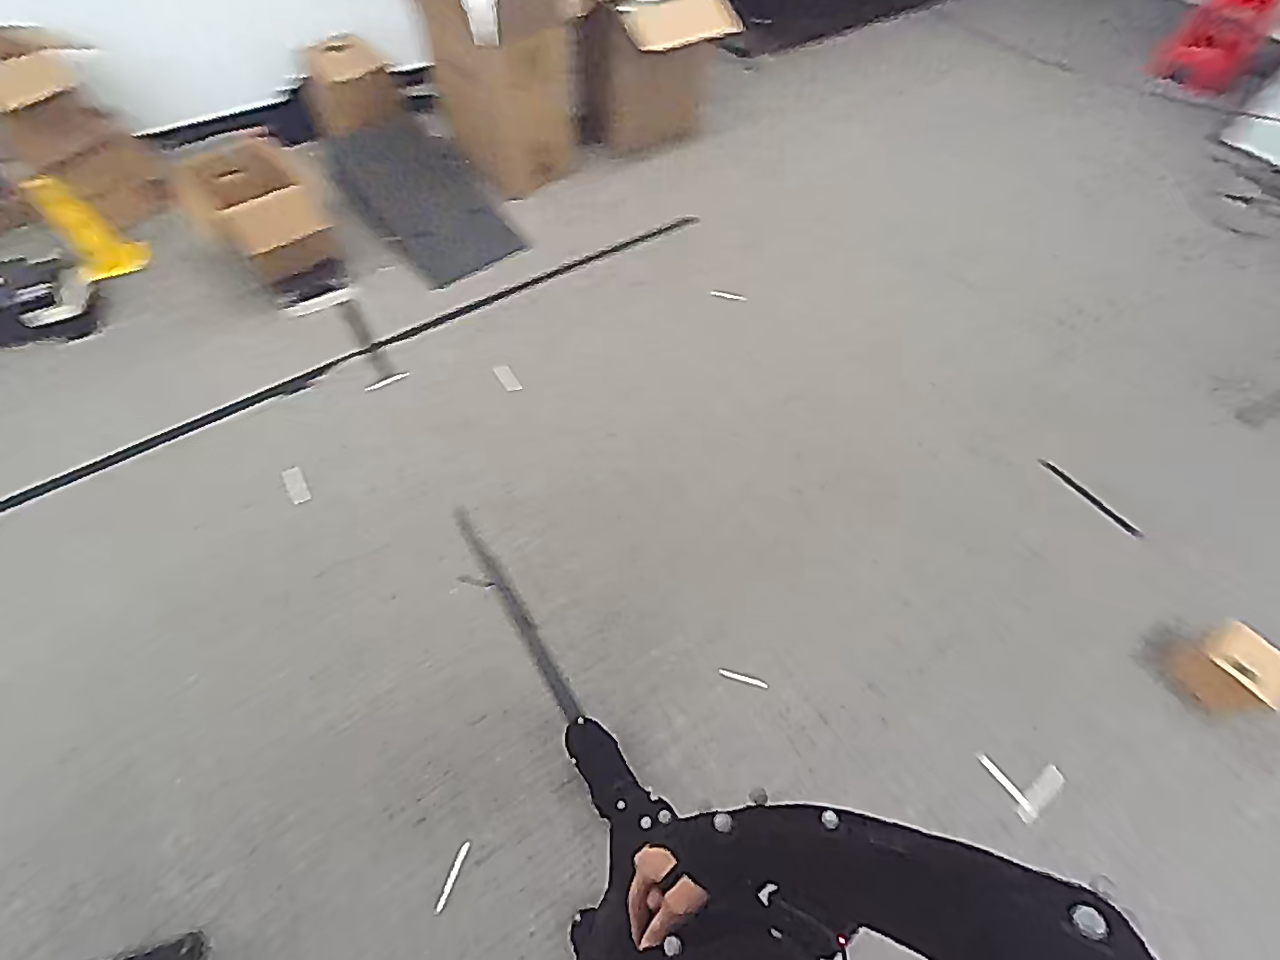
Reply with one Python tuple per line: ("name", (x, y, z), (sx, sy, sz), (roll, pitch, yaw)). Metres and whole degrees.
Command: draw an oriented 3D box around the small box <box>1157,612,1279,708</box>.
("small box", (1.610, 0.506, 1.502), (0.179, 0.176, 0.168), (-33, 66, -21))
